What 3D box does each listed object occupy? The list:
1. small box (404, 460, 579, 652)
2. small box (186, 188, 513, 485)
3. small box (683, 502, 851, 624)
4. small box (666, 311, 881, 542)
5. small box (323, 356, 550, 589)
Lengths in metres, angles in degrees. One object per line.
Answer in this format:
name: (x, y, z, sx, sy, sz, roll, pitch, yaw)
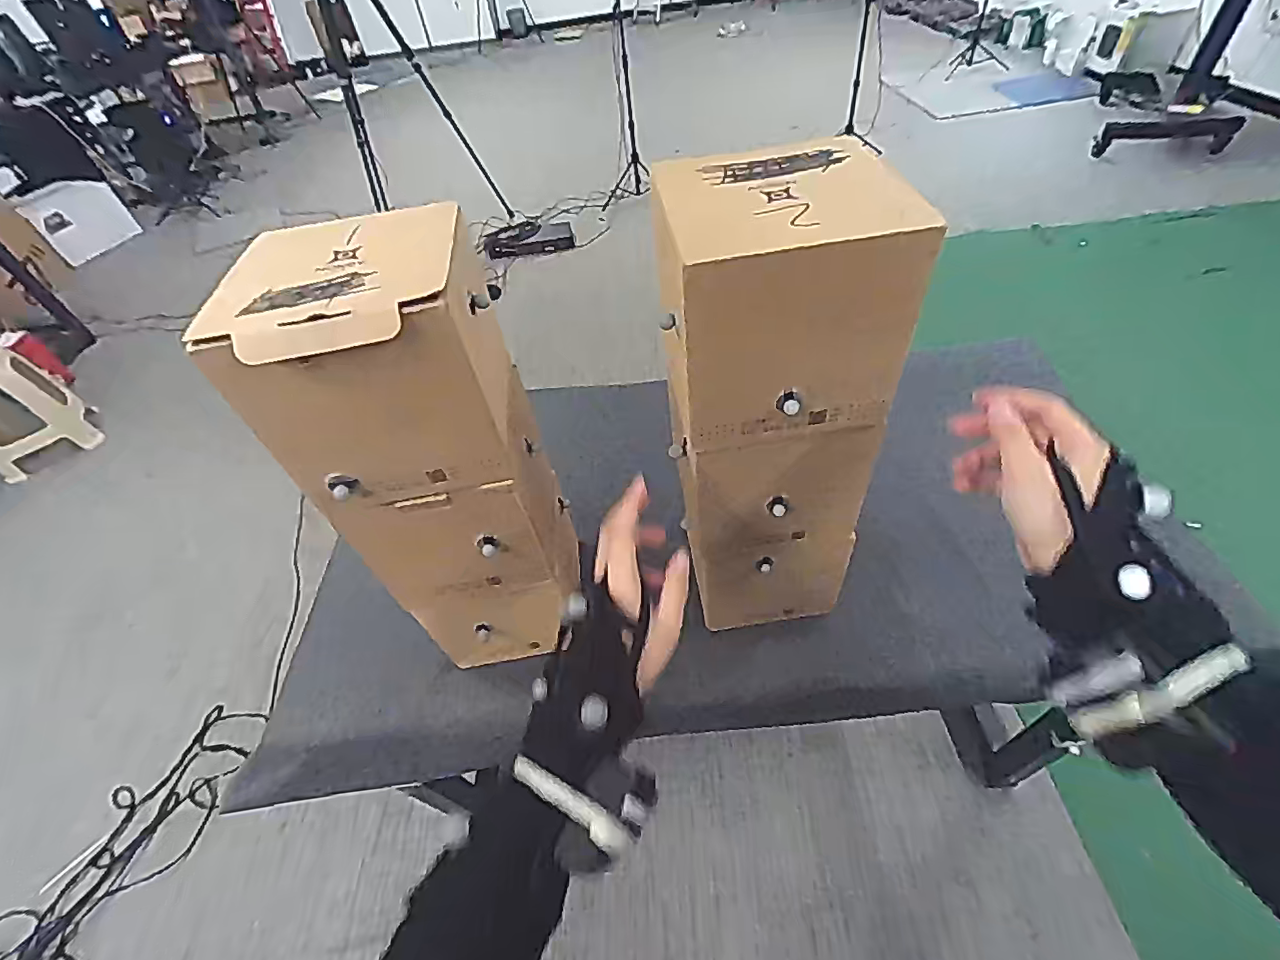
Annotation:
small box: (-0.175, 0.104, 0.692, 0.168, 0.176, 0.179, -9, 48, -1)
small box: (-0.206, -0.112, 0.448, 0.168, 0.176, 0.179, -10, 47, -4)
small box: (0.145, 0.059, 0.692, 0.168, 0.176, 0.179, -8, 48, 0)
small box: (0.123, -0.048, 0.567, 0.168, 0.176, 0.179, -8, 48, -1)
small box: (-0.192, -0.001, 0.570, 0.168, 0.176, 0.179, -9, 47, -3)
